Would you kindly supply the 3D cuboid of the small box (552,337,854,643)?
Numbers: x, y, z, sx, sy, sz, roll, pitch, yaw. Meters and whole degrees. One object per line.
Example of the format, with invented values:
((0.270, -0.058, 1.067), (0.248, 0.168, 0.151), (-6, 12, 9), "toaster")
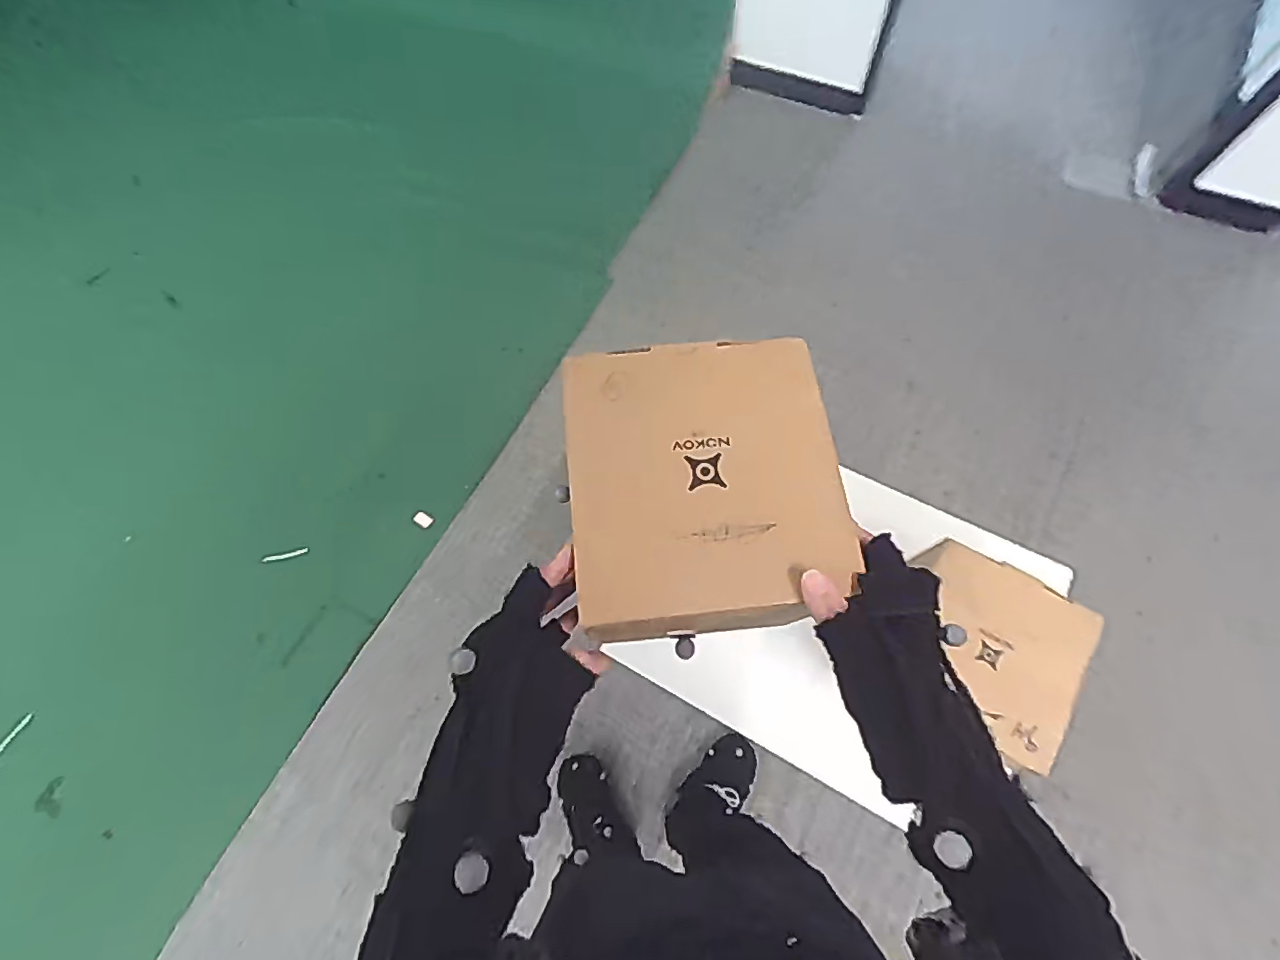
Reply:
((0.030, 0.020, 0.408), (0.168, 0.176, 0.179), (-8, 71, -3), "small box")

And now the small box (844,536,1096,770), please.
((0.362, 0.196, 0.628), (0.168, 0.176, 0.179), (30, 75, 15), "small box")
